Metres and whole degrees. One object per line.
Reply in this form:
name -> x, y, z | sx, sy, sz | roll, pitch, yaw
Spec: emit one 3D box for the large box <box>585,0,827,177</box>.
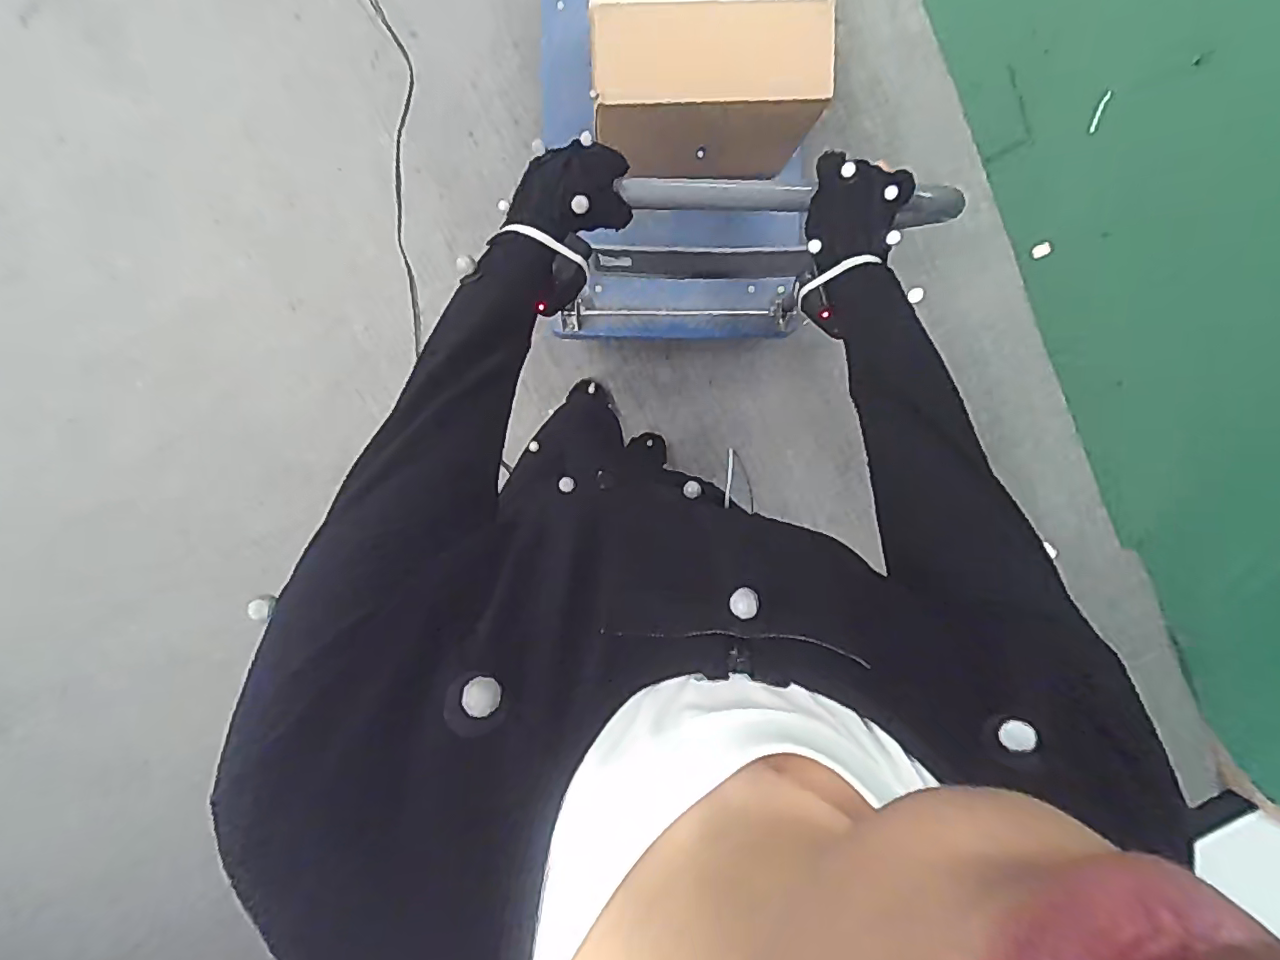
large box -> 0.106, -0.811, 1.038 | 0.408, 0.320, 0.320 | -4, 98, -3
